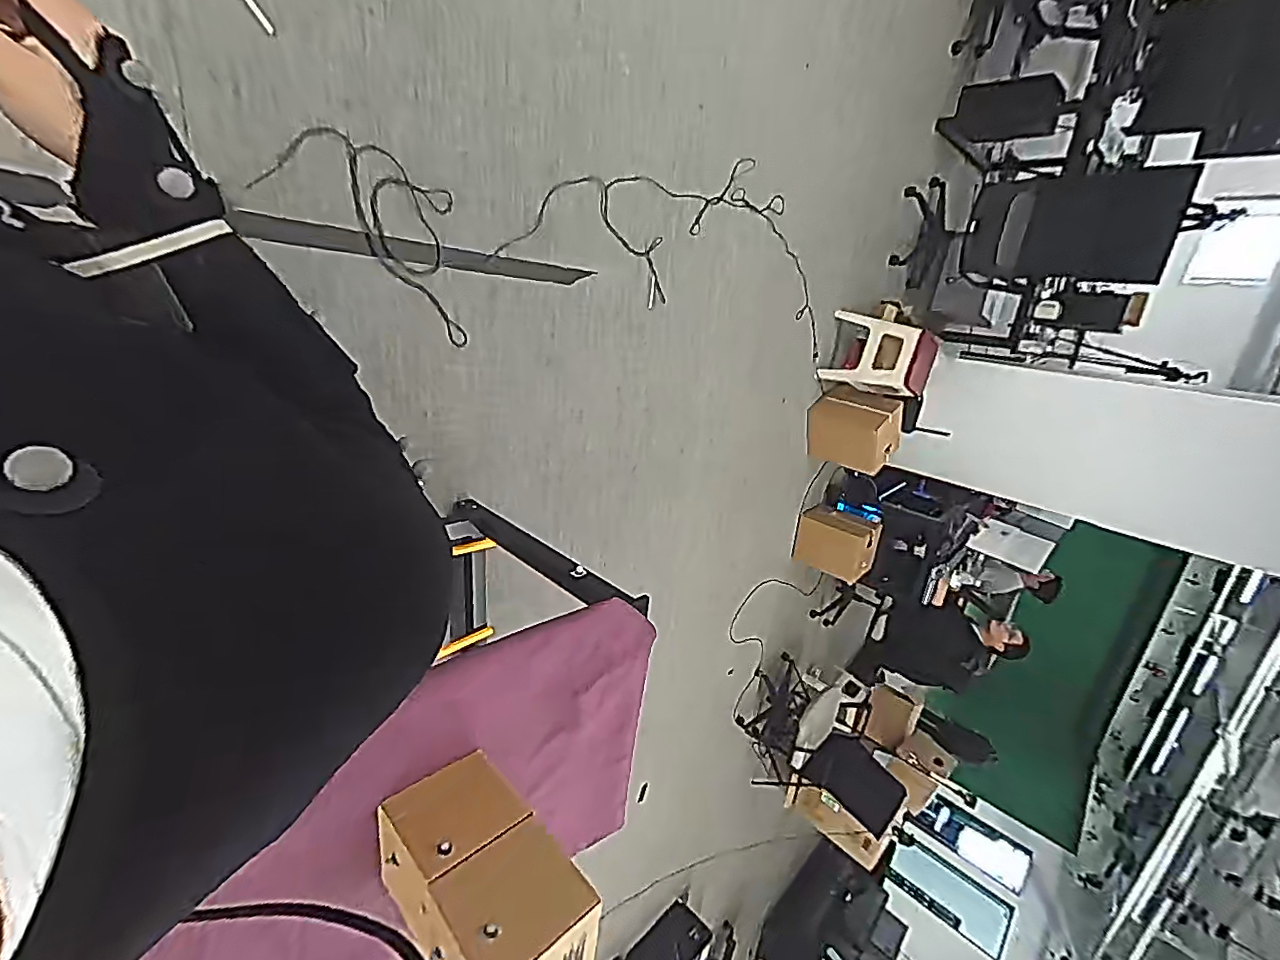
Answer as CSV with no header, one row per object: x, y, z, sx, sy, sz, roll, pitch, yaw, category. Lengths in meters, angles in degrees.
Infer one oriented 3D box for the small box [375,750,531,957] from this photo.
-0.299,0.575,0.863,0.179,0.176,0.168,-12,116,-45,small box
